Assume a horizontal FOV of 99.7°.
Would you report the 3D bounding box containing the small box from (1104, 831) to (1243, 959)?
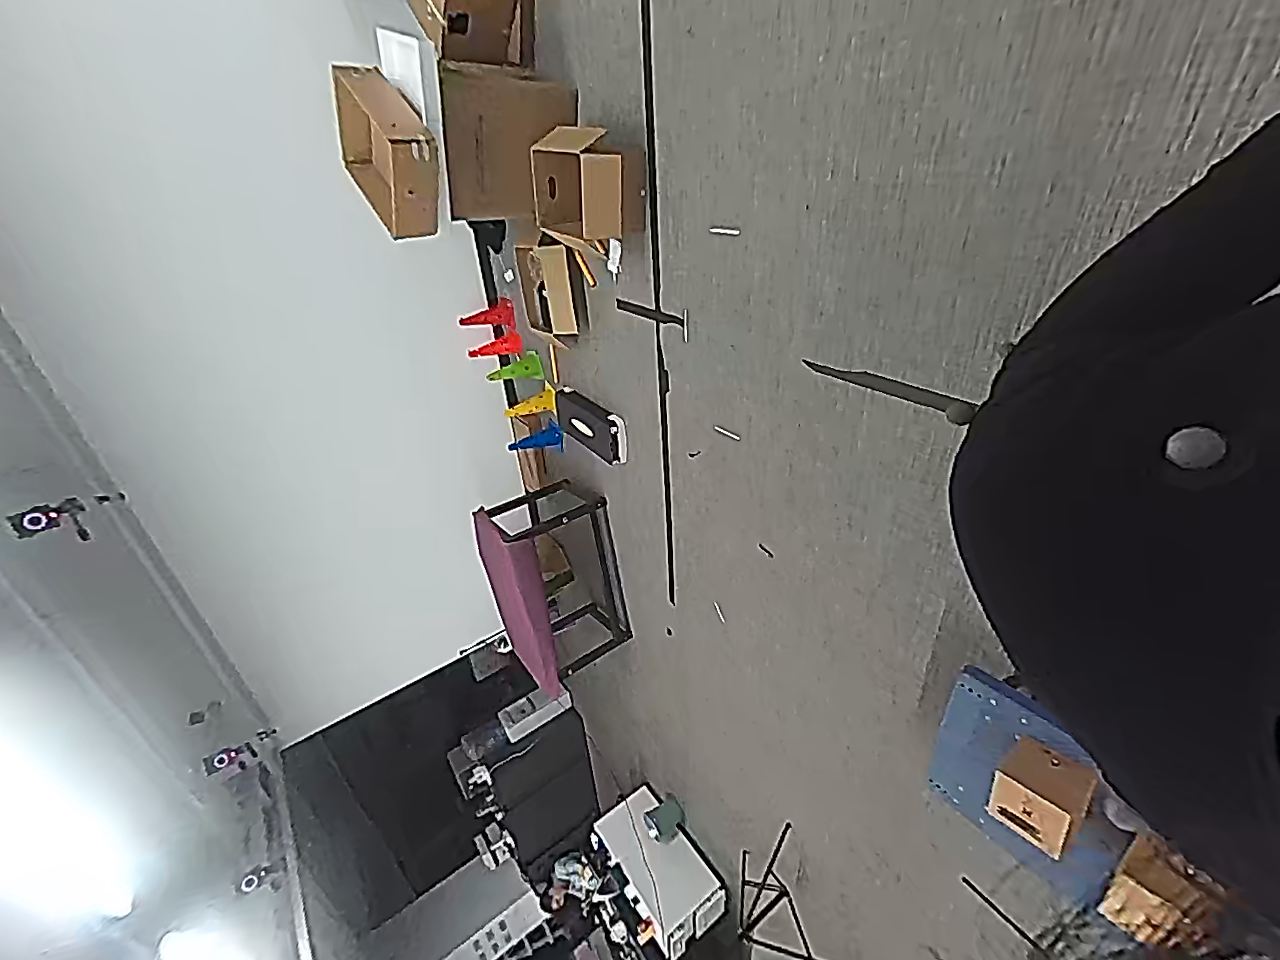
[{"bbox_3d":[1.213,0.959,1.231,0.168,0.176,0.179,28,133,49],"label":"small box"}]
